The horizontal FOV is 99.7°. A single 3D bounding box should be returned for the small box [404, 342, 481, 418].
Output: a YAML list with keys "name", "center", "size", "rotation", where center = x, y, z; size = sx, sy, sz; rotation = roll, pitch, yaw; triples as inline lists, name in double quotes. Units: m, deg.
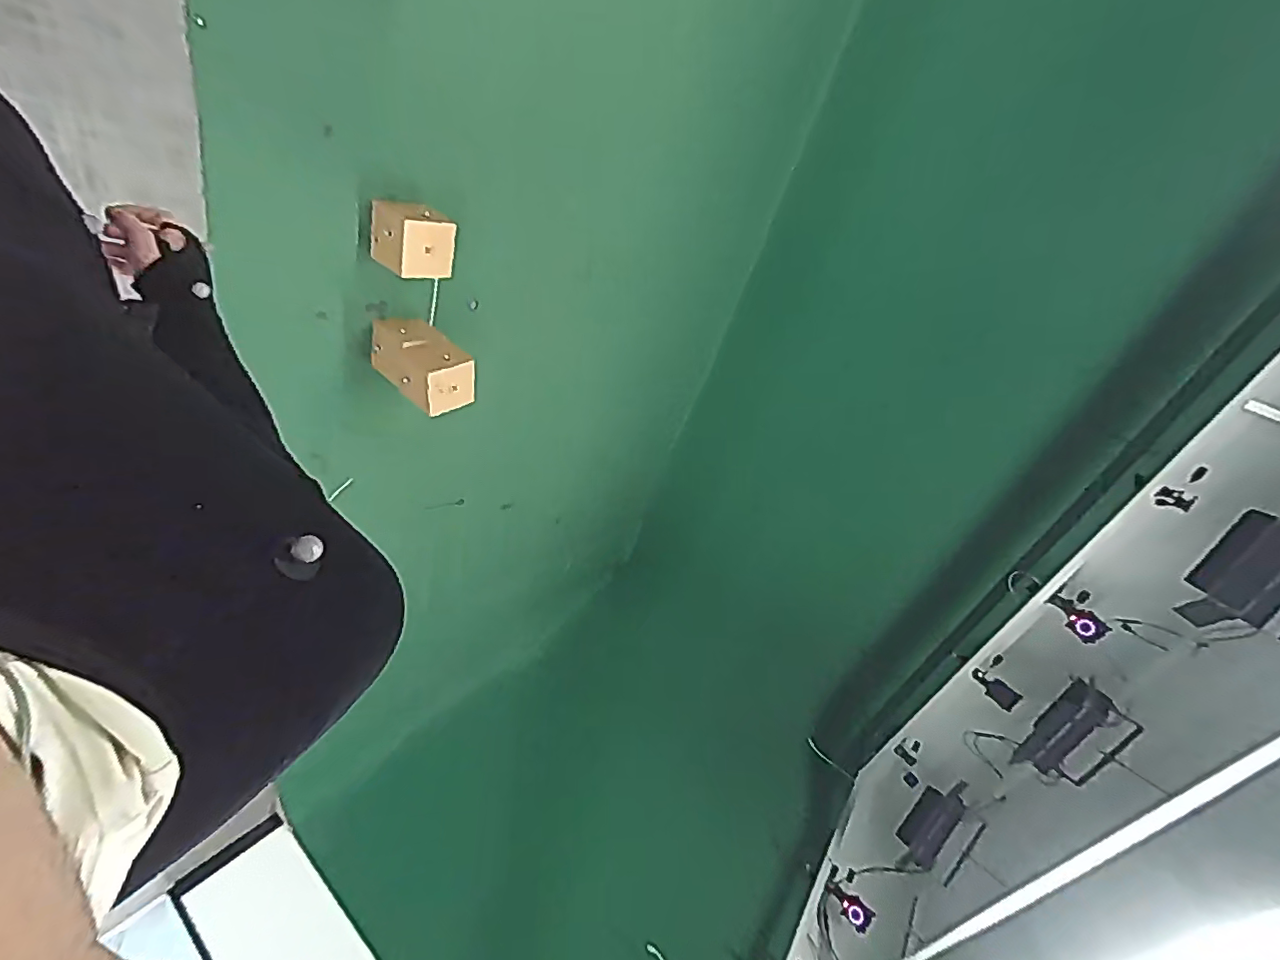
- name: "small box"
  center: [-0.651, -0.336, 1.786]
  size: [0.179, 0.176, 0.168]
  rotation: [-31, 148, -41]

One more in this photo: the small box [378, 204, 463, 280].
- name: "small box"
  center: [-0.670, -0.721, 1.641]
  size: [0.179, 0.176, 0.168]
  rotation: [-27, 145, -49]
